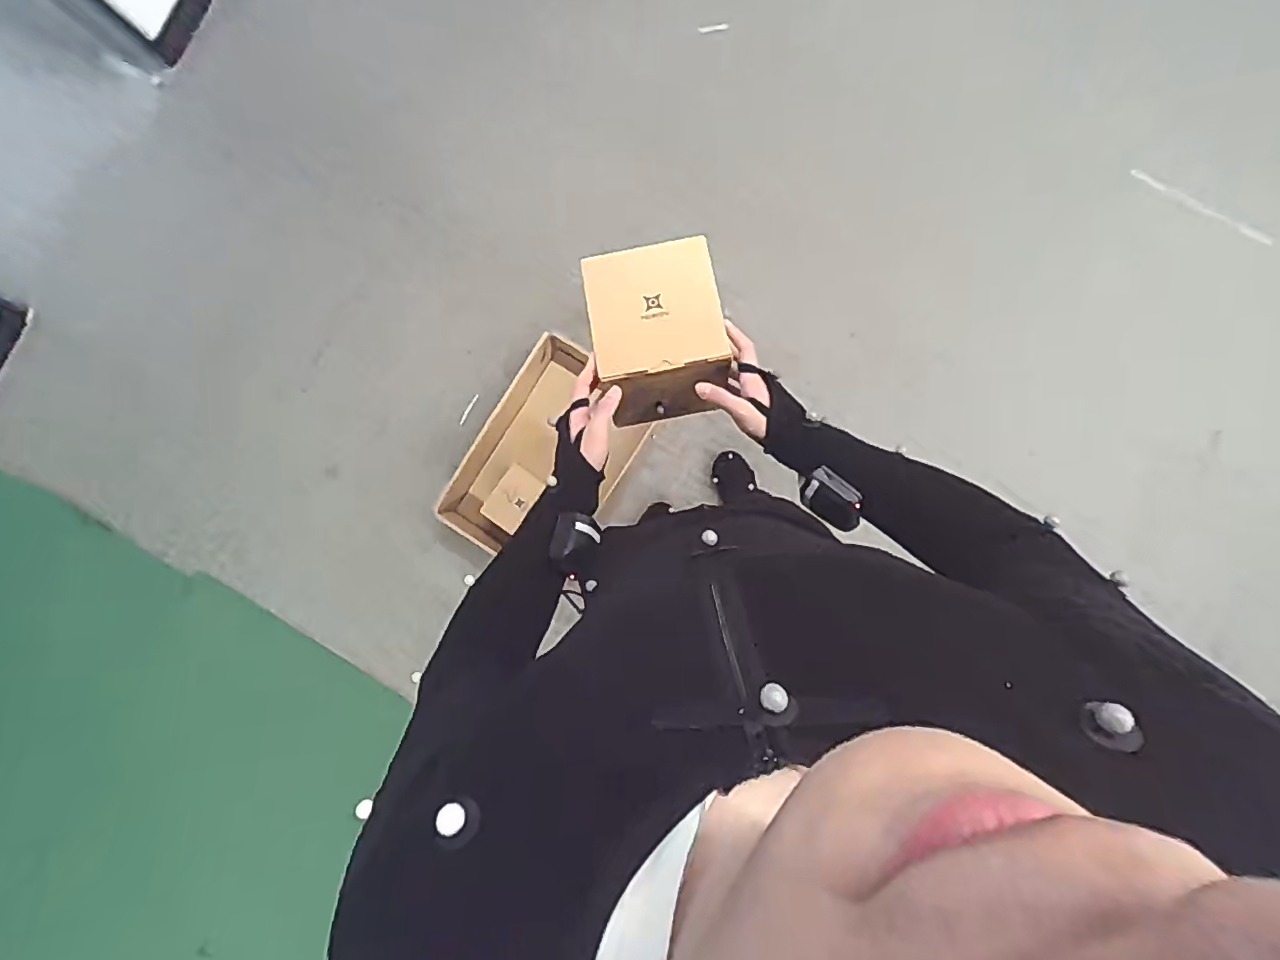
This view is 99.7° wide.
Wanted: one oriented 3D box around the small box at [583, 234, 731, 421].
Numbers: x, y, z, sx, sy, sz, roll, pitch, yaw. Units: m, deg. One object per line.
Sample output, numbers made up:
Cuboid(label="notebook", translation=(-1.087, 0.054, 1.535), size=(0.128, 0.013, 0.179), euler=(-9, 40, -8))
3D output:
Cuboid(label="small box", translation=(0.021, -0.201, 0.747), size=(0.168, 0.176, 0.179), euler=(-10, 76, 1))
